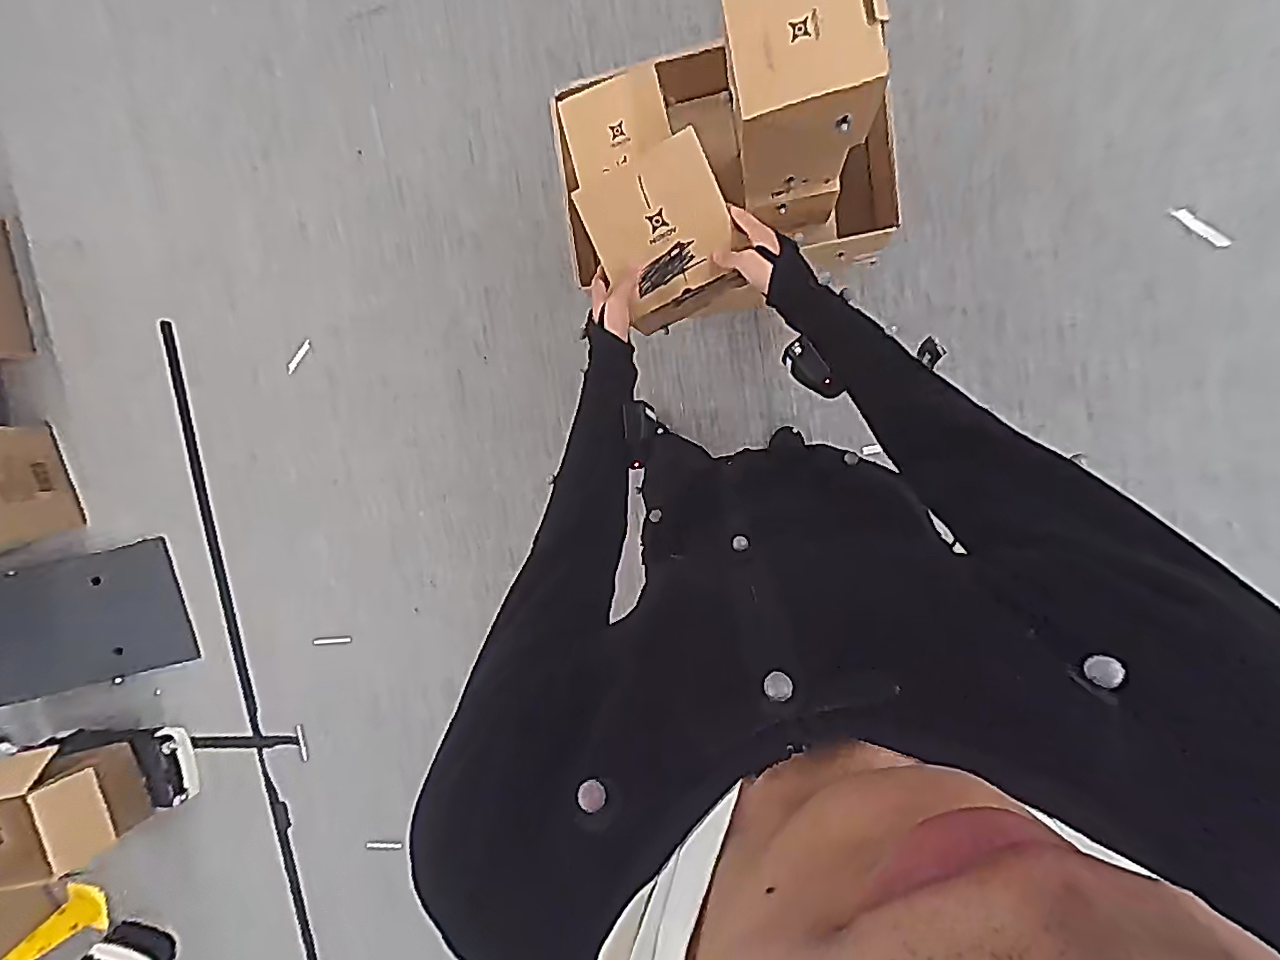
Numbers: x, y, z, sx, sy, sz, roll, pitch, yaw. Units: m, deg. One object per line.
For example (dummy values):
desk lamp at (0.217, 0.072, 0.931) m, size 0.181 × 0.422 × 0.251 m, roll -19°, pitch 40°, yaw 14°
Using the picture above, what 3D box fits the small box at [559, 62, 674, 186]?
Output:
small box at (-0.018, -0.553, 0.931) m, size 0.168 × 0.176 × 0.179 m, roll -14°, pitch 94°, yaw 13°

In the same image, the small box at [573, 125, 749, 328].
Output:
small box at (0.037, -0.317, 0.727) m, size 0.168 × 0.176 × 0.179 m, roll -24°, pitch 95°, yaw 11°

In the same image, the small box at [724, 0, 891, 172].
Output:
small box at (0.210, -0.545, 0.716) m, size 0.179 × 0.176 × 0.168 m, roll -10°, pitch 94°, yaw 13°
